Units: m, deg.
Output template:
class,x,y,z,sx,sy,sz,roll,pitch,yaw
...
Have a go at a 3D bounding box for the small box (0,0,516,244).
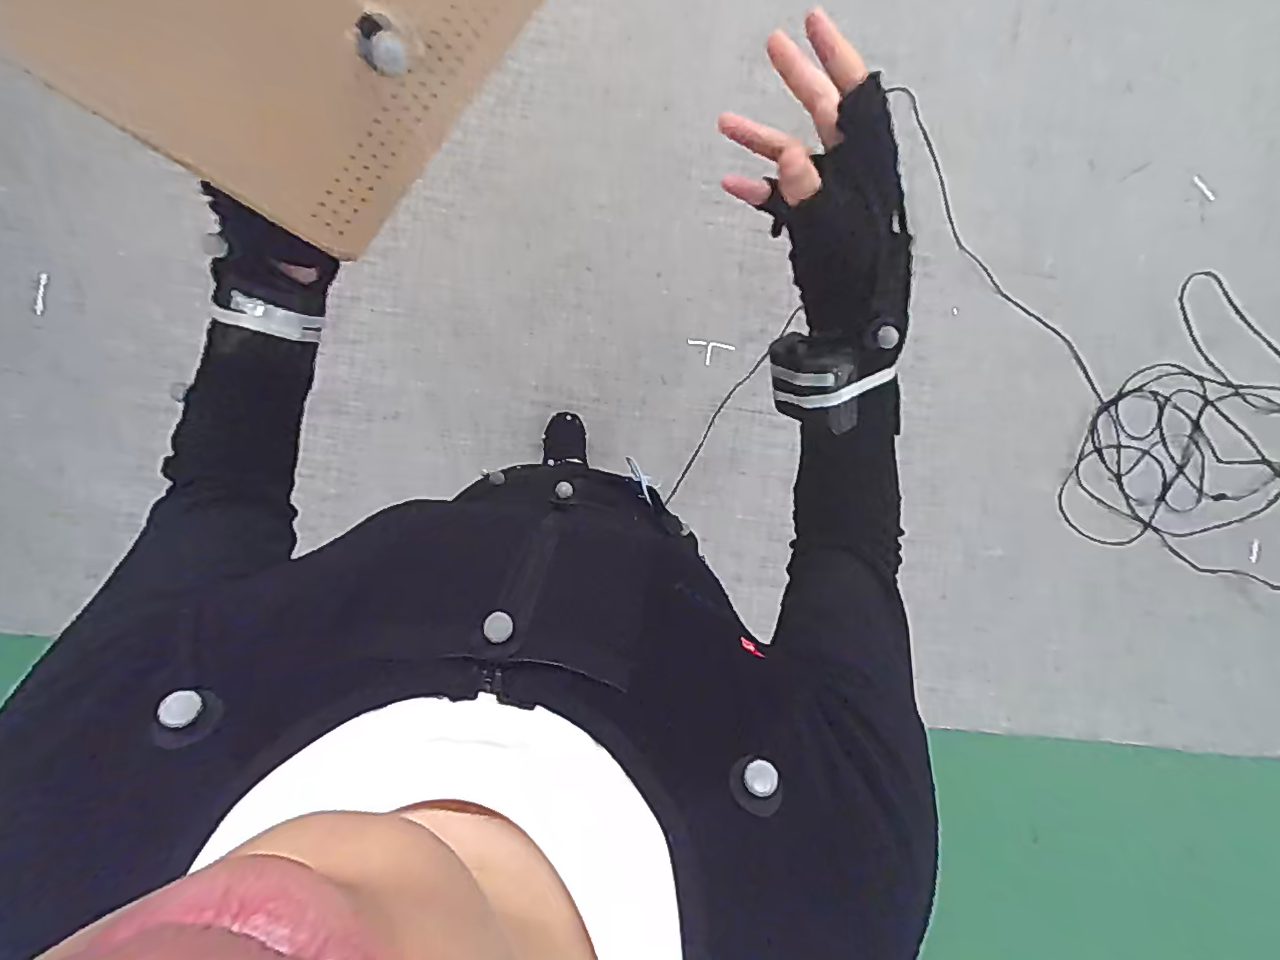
class,x,y,z,sx,sy,sz,roll,pitch,yaw
small box,-0.176,-0.242,0.219,0.179,0.176,0.168,-48,61,10
